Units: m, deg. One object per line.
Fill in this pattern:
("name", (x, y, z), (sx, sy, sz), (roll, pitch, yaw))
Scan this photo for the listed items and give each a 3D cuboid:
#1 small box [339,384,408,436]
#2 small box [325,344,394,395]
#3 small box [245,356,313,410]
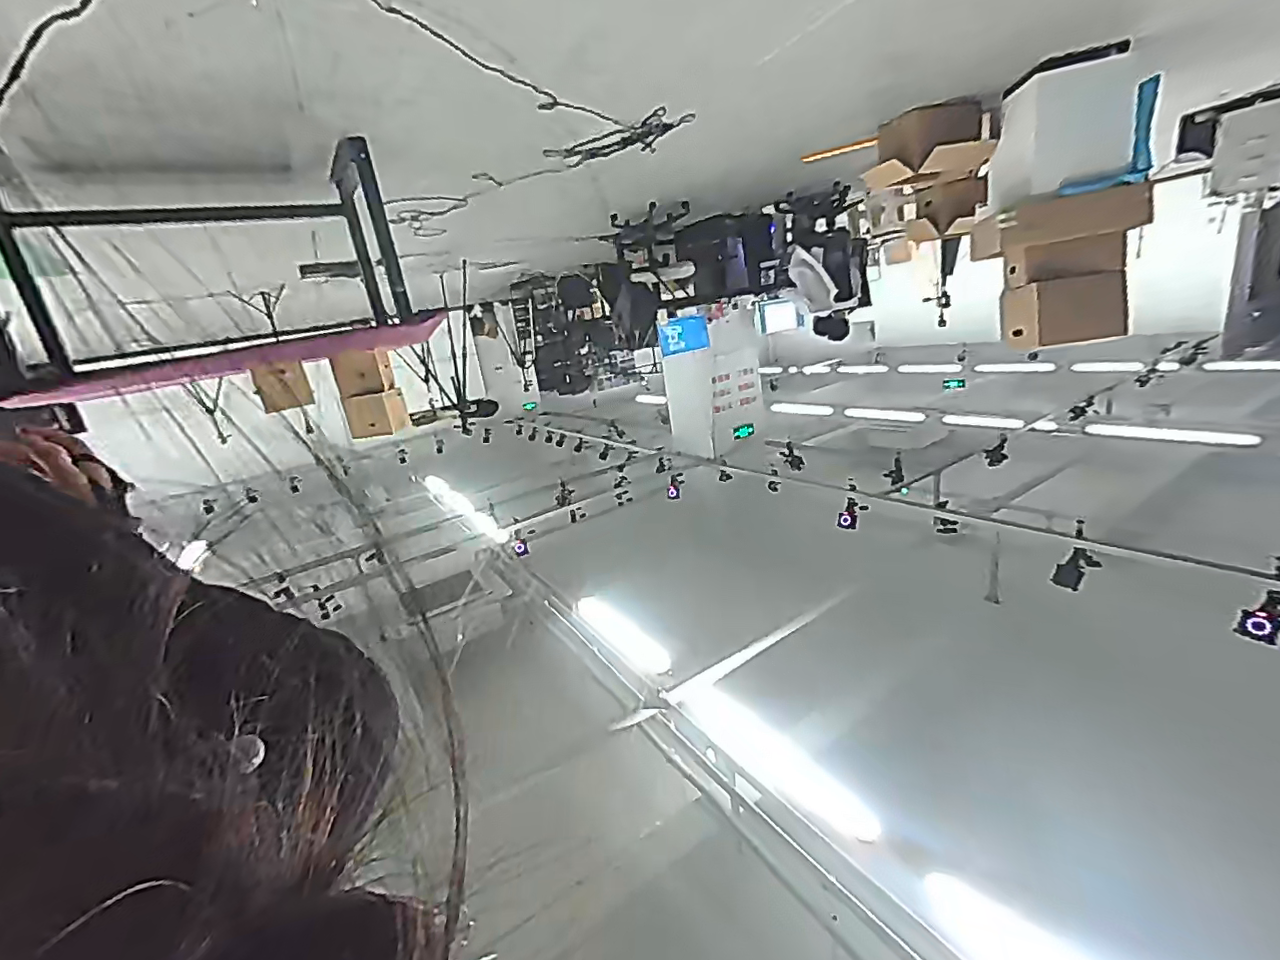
("small box", (-1.073, -0.288, 2.182), (0.179, 0.176, 0.168), (-7, -163, 4))
("small box", (-1.109, -0.445, 2.145), (0.179, 0.176, 0.168), (-12, -163, -7))
("small box", (-1.336, -0.364, 2.001), (0.168, 0.176, 0.179), (-21, -159, -31))
